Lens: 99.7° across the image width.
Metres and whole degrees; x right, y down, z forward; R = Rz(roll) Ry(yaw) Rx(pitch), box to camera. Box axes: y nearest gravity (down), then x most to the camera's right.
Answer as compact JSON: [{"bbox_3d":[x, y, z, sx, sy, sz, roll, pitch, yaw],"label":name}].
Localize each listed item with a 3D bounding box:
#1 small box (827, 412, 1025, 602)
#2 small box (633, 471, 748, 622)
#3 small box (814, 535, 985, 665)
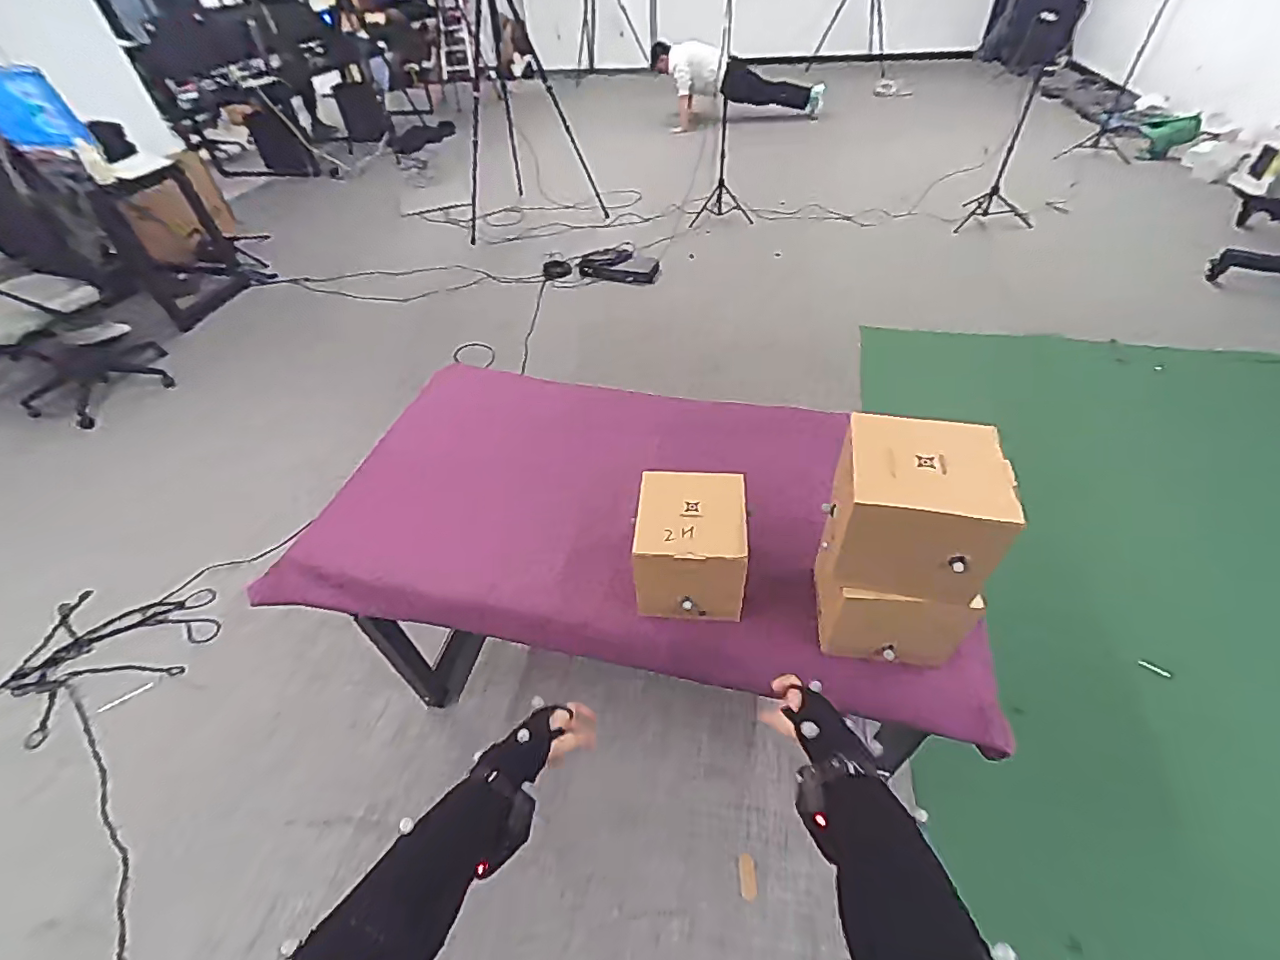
[{"bbox_3d":[0.348,0.036,0.696,0.179,0.176,0.168,8,47,13],"label":"small box"},{"bbox_3d":[0.084,0.106,0.879,0.168,0.176,0.179,2,45,7],"label":"small box"},{"bbox_3d":[0.368,0.158,0.804,0.179,0.176,0.168,4,46,9],"label":"small box"}]
